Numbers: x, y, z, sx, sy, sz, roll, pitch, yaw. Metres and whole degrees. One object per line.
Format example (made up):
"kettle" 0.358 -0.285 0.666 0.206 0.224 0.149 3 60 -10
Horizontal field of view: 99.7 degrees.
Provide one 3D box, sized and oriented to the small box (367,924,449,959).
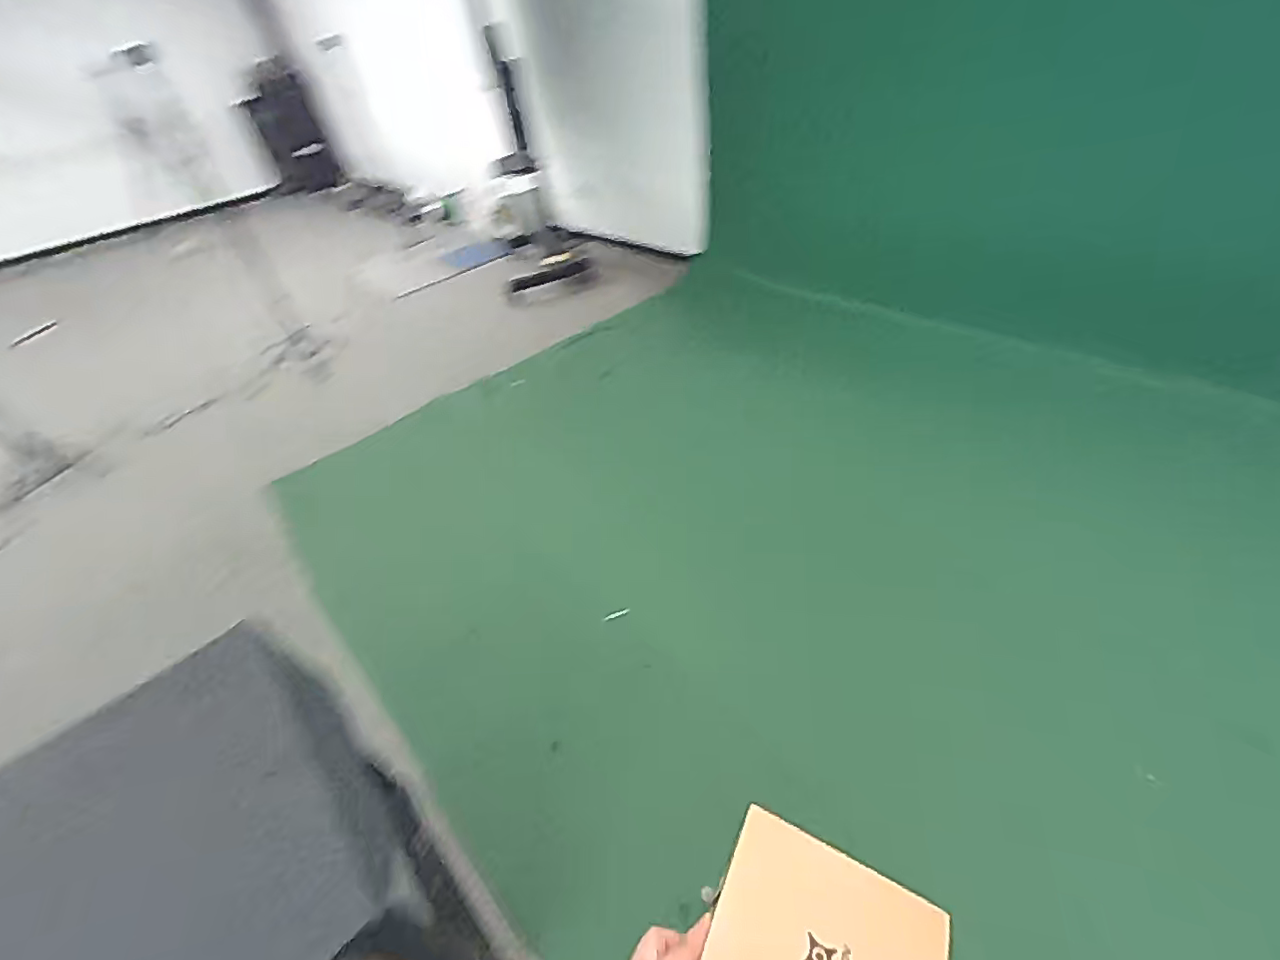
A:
"small box" -0.467 1.025 1.049 0.179 0.176 0.168 -30 46 -23
